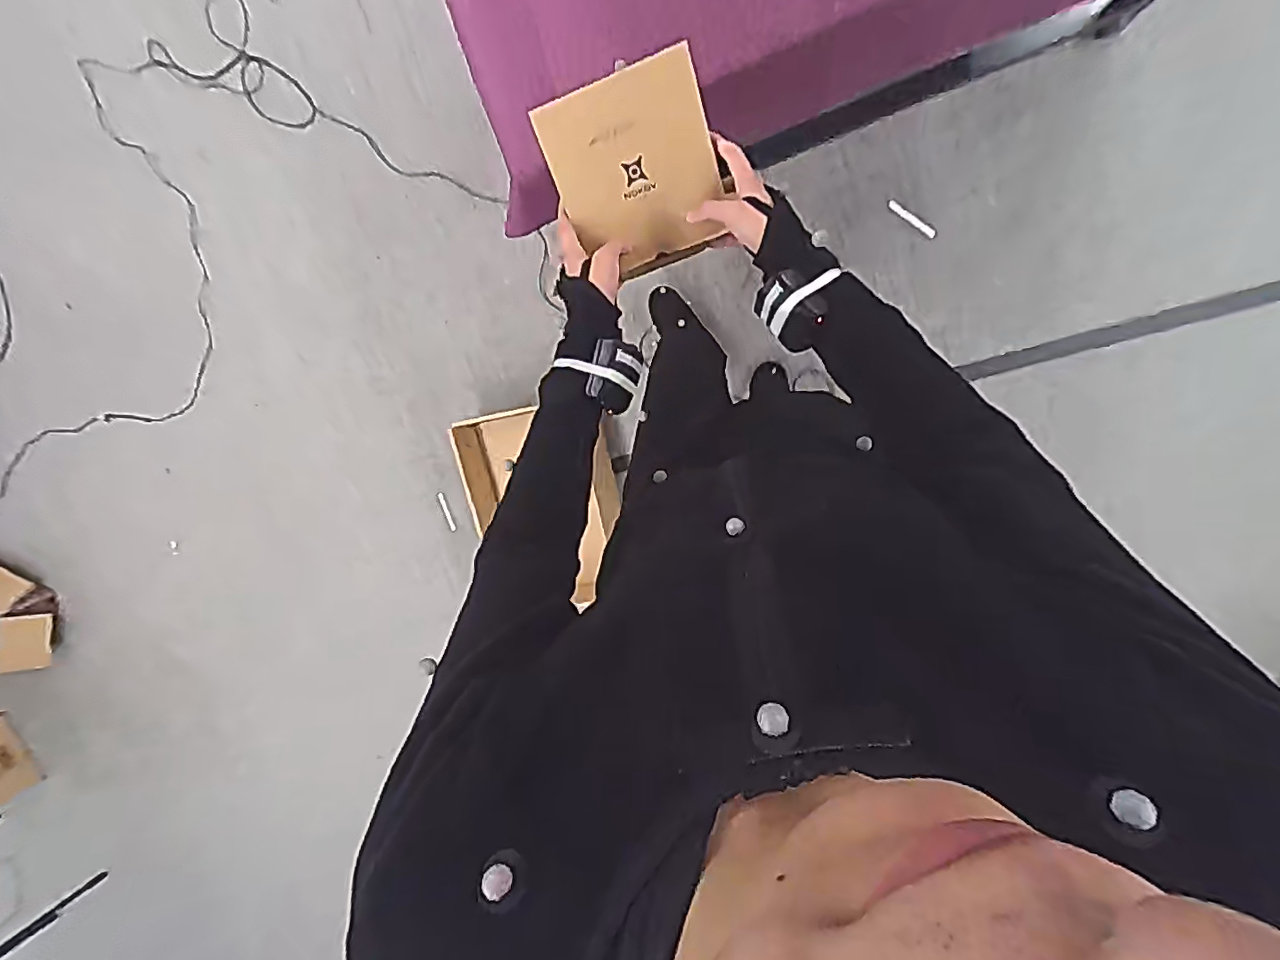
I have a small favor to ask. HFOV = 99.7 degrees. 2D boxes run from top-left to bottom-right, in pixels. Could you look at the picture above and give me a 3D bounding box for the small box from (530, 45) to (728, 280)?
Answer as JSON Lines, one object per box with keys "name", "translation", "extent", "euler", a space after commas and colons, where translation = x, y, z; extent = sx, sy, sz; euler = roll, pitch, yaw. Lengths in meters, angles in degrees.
{"name": "small box", "translation": [-0.005, -0.362, 0.627], "extent": [0.168, 0.176, 0.179], "euler": [-17, 122, 10]}
